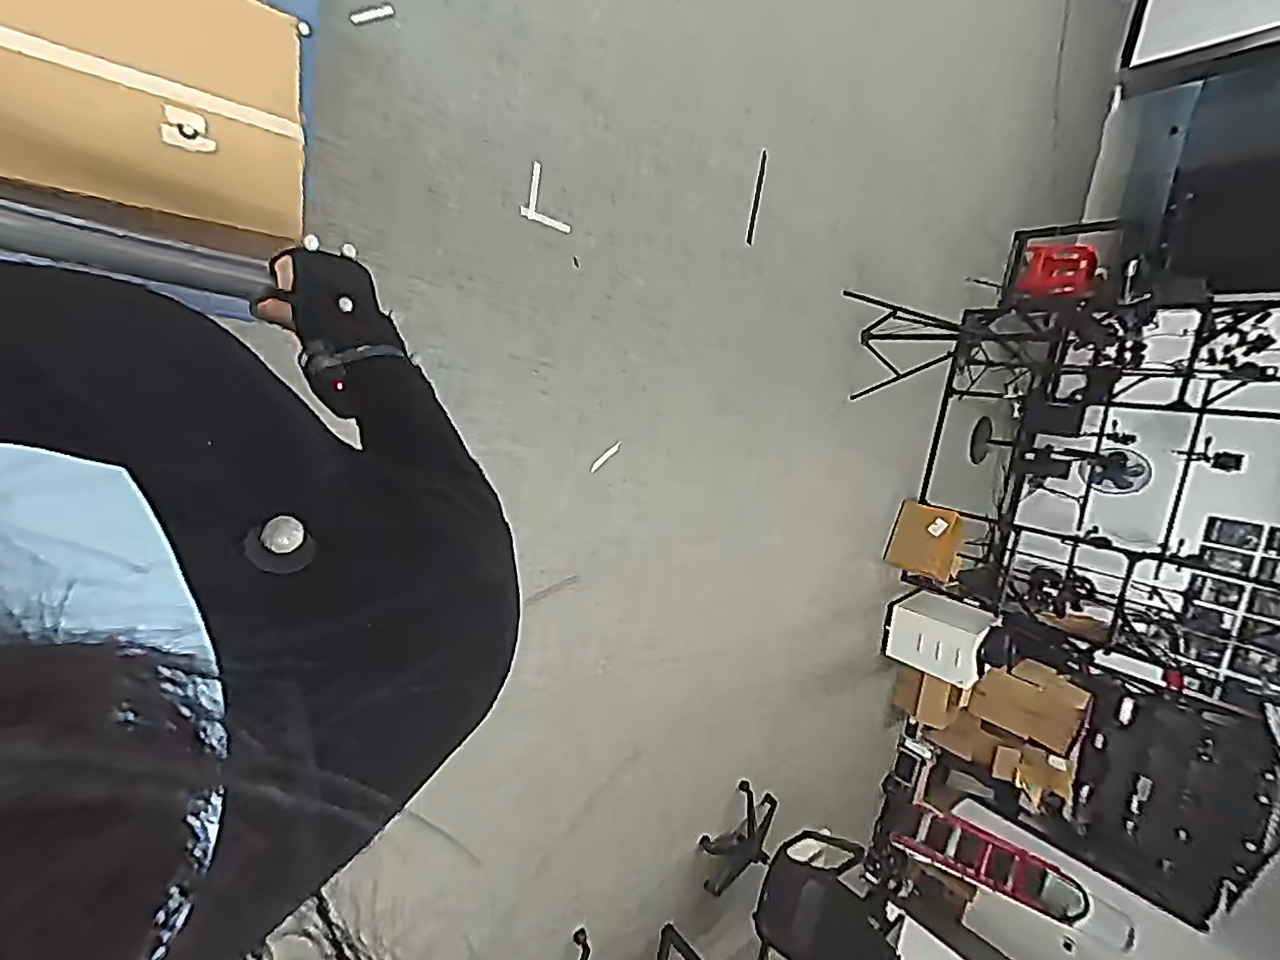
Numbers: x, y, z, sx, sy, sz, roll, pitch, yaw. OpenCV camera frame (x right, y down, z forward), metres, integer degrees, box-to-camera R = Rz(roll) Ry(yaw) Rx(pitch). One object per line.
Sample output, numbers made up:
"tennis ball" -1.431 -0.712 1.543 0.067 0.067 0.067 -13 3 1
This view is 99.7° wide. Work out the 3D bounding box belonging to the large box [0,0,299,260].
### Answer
"large box" -0.779 -0.544 0.807 0.408 0.320 0.320 -4 104 -43
